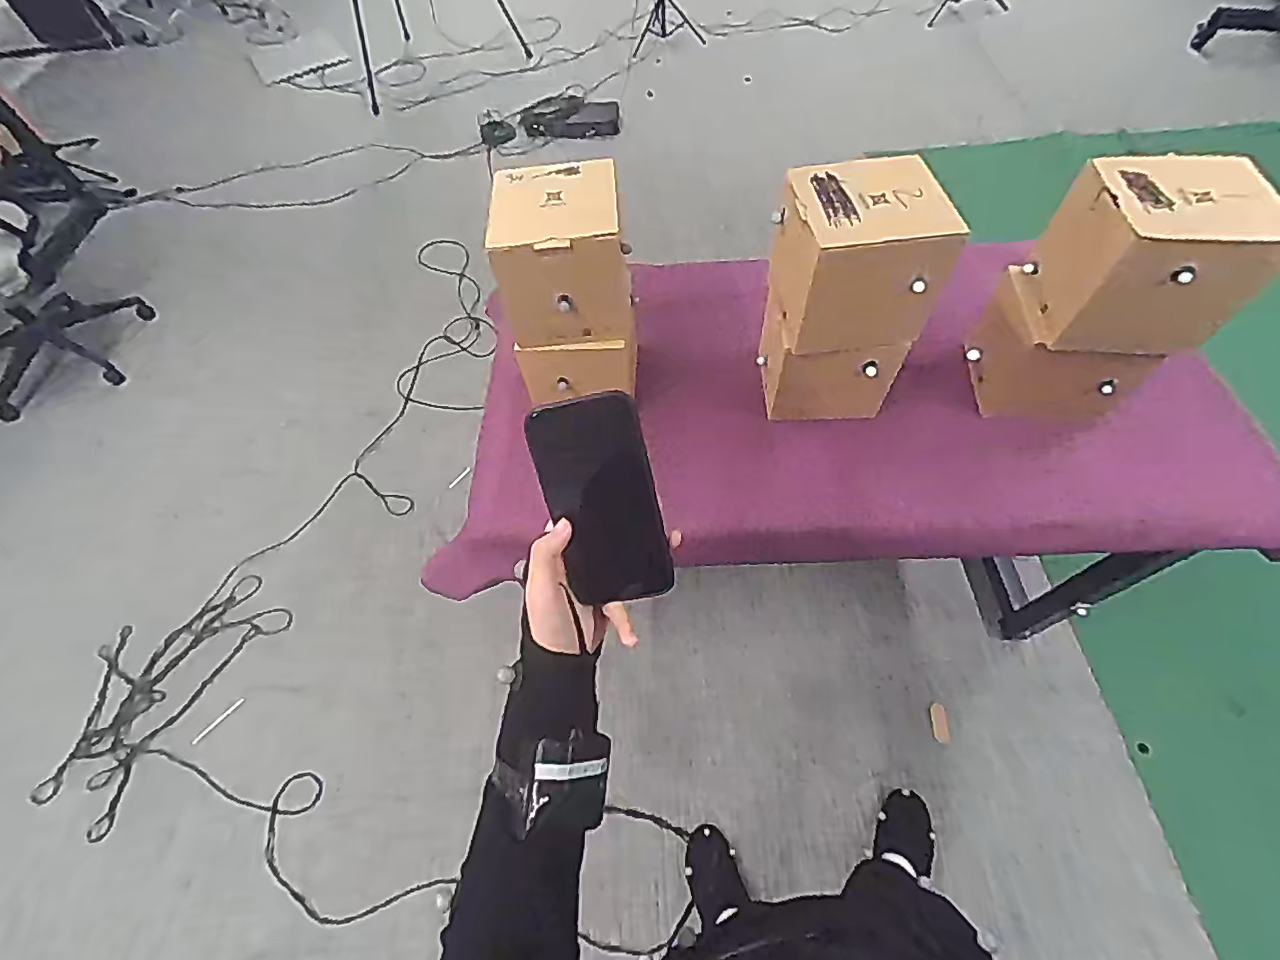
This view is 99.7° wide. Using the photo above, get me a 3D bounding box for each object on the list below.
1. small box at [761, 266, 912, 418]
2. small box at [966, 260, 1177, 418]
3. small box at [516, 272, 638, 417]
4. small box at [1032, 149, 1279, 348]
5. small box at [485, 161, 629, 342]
[{"bbox_3d":[0.296,-0.212,0.855,0.179,0.176,0.168,-2,58,5],"label":"small box"},{"bbox_3d":[0.635,-0.209,0.822,0.179,0.176,0.168,4,58,8],"label":"small box"},{"bbox_3d":[-0.093,-0.217,0.897,0.168,0.176,0.179,-1,58,5],"label":"small box"},{"bbox_3d":[0.630,-0.283,0.676,0.179,0.176,0.168,4,58,7],"label":"small box"},{"bbox_3d":[-0.106,-0.311,0.763,0.168,0.176,0.179,-5,58,1],"label":"small box"}]
